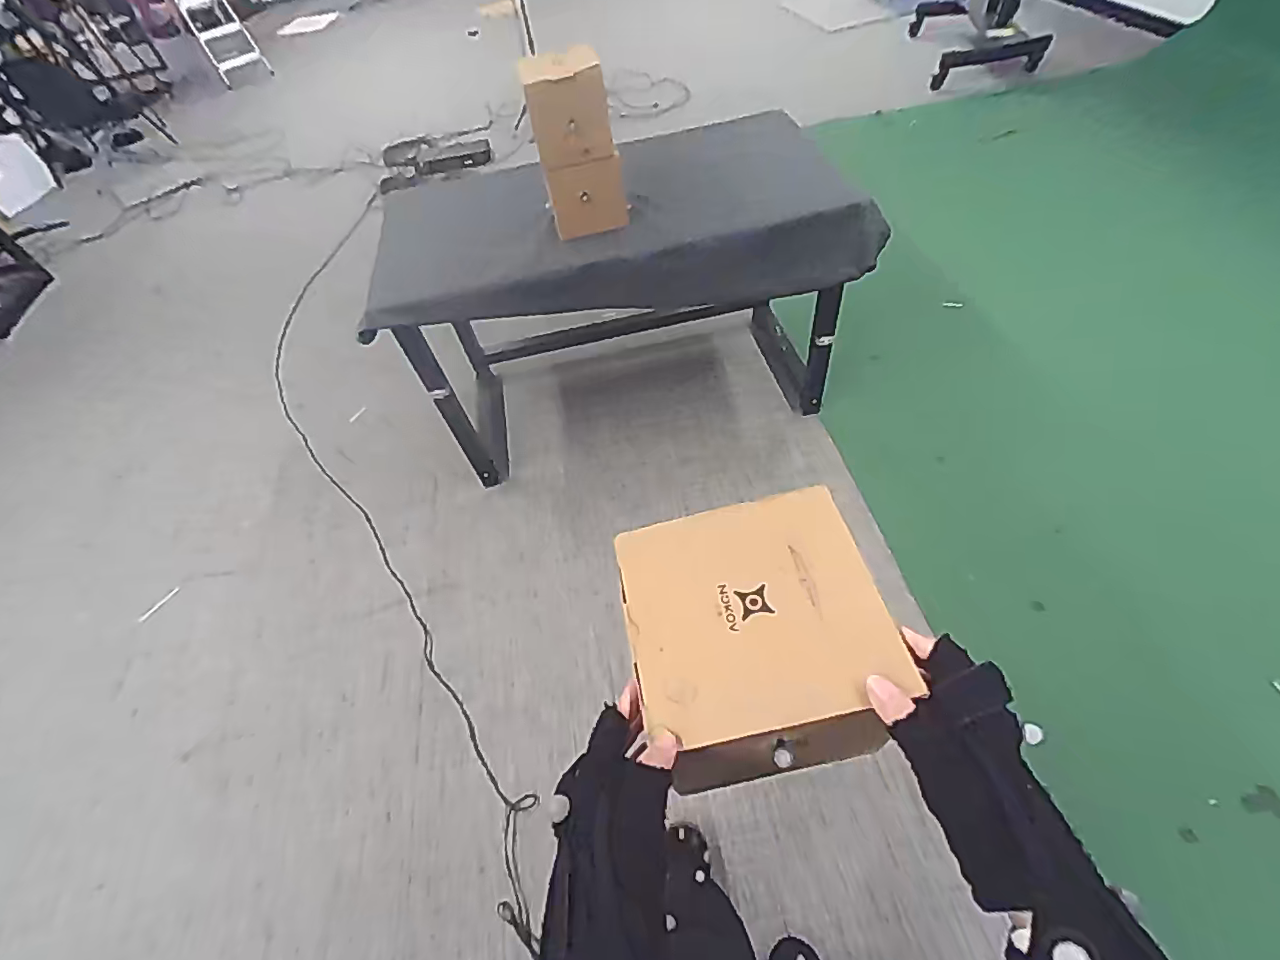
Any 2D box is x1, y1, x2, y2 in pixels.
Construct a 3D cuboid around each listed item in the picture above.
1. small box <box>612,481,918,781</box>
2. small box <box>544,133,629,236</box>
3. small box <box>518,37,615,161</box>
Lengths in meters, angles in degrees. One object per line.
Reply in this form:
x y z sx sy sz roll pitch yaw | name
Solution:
0.087 0.130 0.442 0.179 0.176 0.168 -13 53 0 | small box
-0.128 -0.721 1.305 0.179 0.176 0.168 -16 53 -5 | small box
-0.157 -0.821 1.178 0.168 0.176 0.179 -14 53 -1 | small box
